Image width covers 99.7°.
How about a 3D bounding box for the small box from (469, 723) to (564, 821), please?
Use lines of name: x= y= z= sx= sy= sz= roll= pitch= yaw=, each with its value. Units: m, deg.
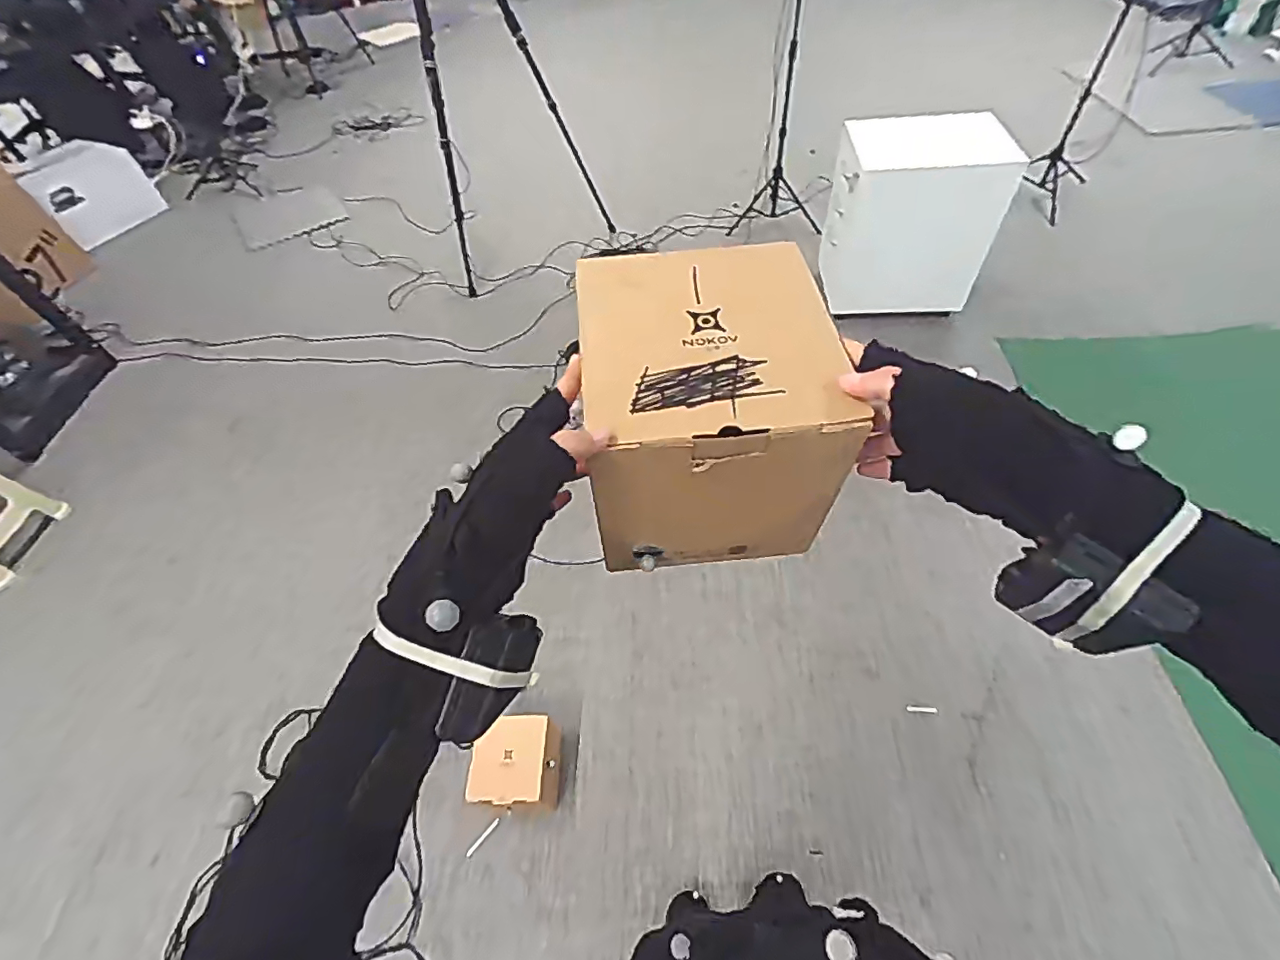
small box: x=-0.276 y=0.680 z=1.257 sx=0.168 sy=0.176 sz=0.179 roll=-3 pitch=53 yaw=4
